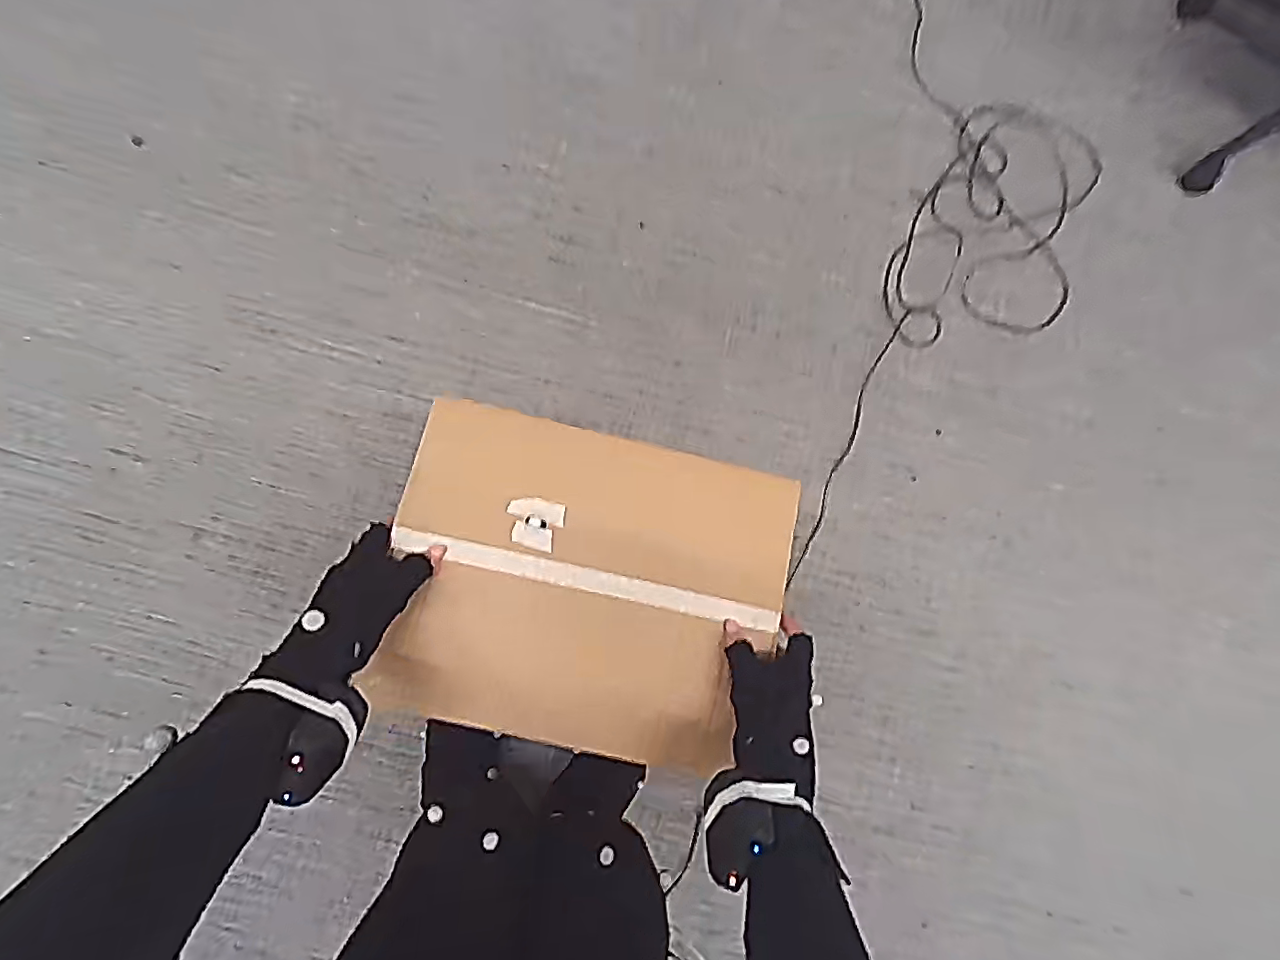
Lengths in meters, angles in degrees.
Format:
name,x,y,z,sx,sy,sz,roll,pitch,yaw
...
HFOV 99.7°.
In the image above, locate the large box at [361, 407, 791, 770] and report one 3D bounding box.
name,x,y,z,sx,sy,sz,roll,pitch,yaw
large box,-0.062,0.135,0.715,0.408,0.320,0.320,14,78,-1
